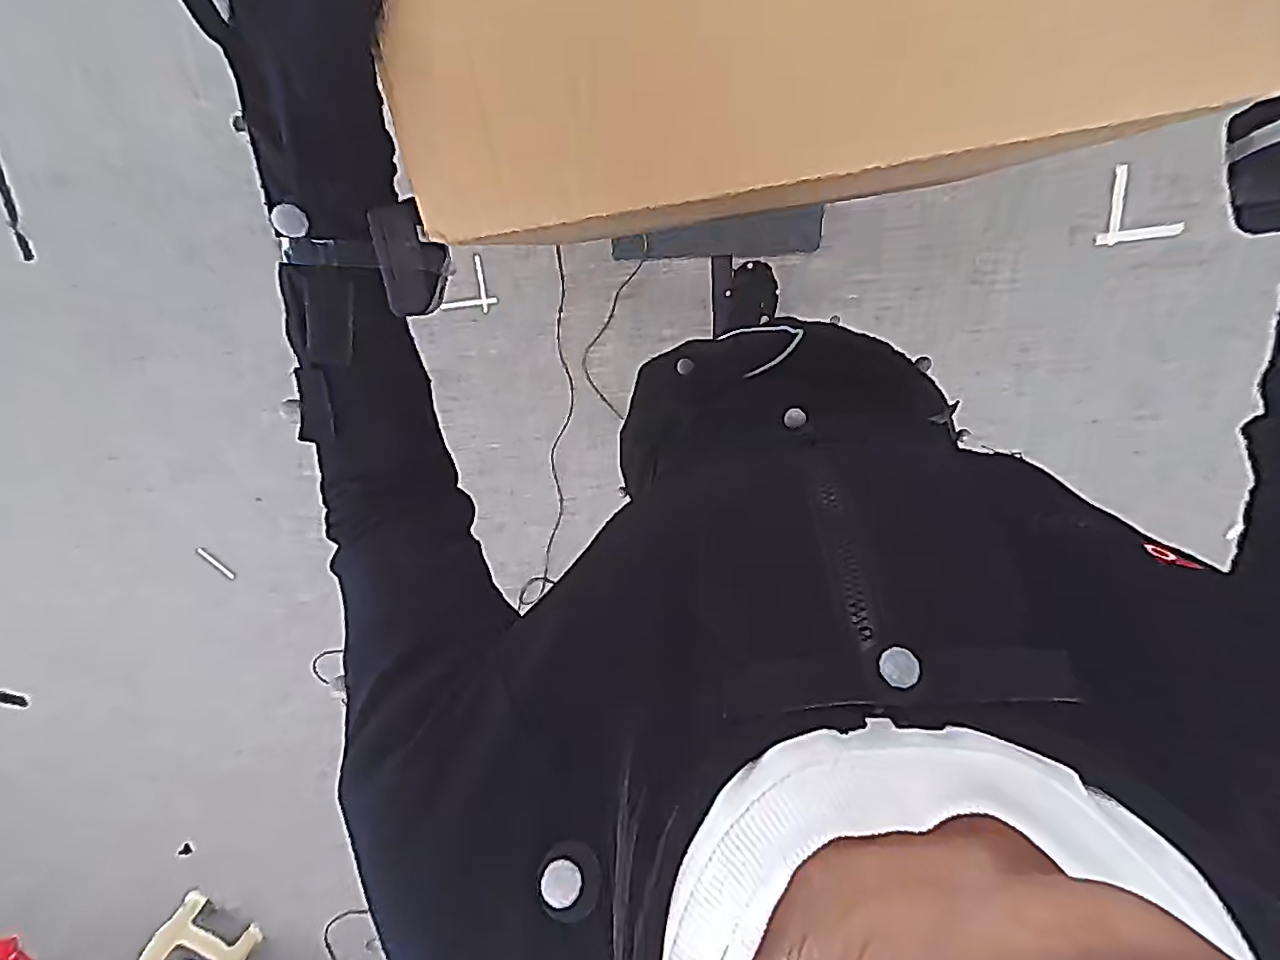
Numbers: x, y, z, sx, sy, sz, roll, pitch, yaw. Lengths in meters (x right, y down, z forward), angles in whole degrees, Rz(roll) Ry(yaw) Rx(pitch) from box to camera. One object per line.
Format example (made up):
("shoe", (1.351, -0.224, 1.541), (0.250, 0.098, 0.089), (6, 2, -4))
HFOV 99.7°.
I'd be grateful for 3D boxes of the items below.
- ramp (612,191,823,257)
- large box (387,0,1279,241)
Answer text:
("ramp", (0.151, -0.986, 1.061), (0.509, 0.206, 0.991), (-2, 108, 6))
("large box", (0.074, -0.359, 0.353), (0.408, 0.320, 0.320), (-7, 113, 8))
